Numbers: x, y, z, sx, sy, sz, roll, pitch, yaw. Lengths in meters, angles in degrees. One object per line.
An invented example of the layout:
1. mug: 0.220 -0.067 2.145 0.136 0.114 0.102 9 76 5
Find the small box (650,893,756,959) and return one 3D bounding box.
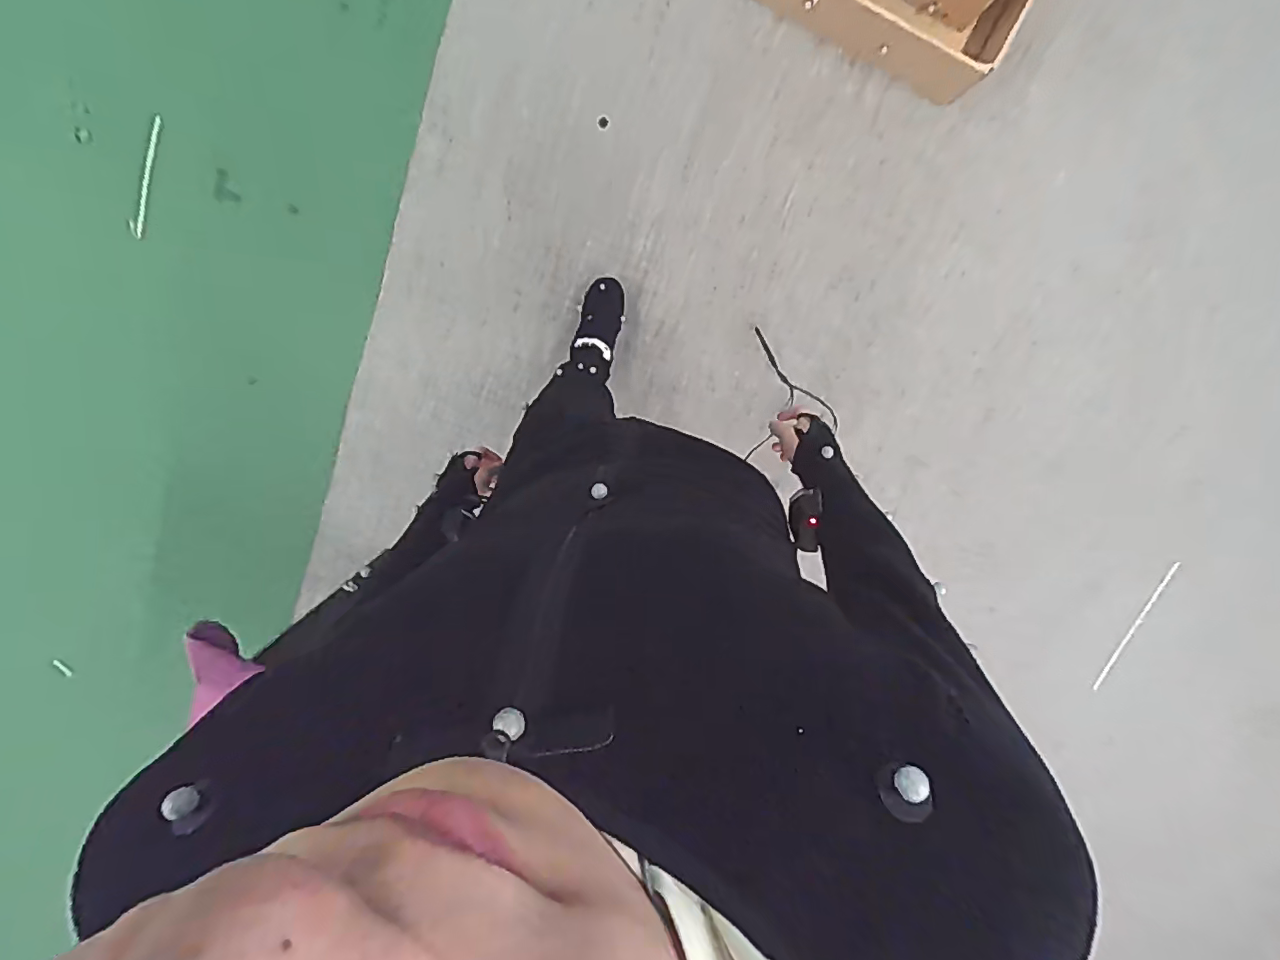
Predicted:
1. small box: 0.118 0.937 1.016 0.168 0.176 0.179 19 104 -4
